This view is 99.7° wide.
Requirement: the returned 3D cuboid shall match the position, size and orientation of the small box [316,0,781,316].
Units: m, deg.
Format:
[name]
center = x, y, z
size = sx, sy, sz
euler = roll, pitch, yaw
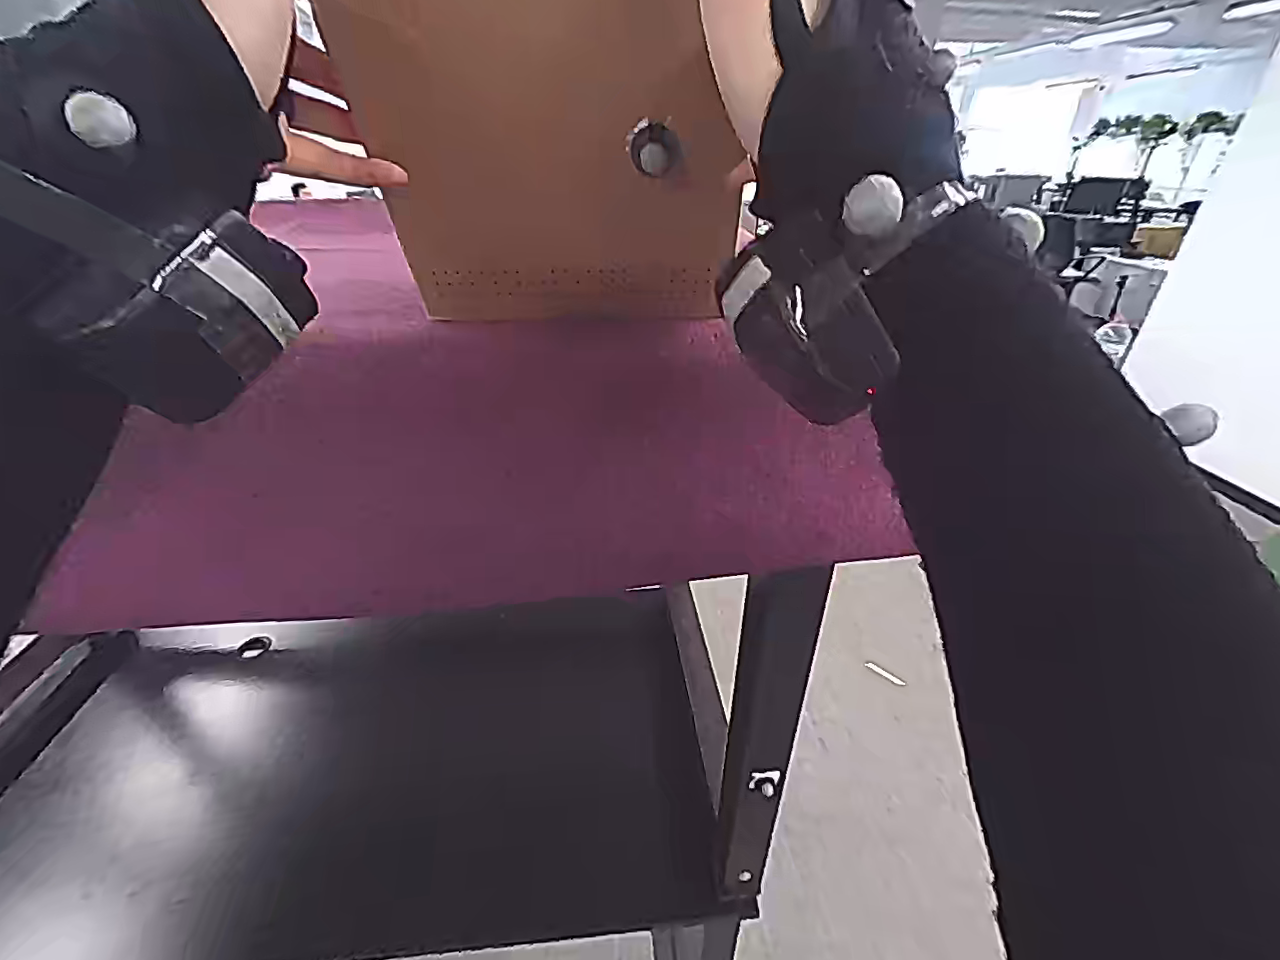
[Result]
[small box]
center = -0.033, -0.204, 0.293
size = 0.179, 0.176, 0.168
euler = 0, 51, 1
